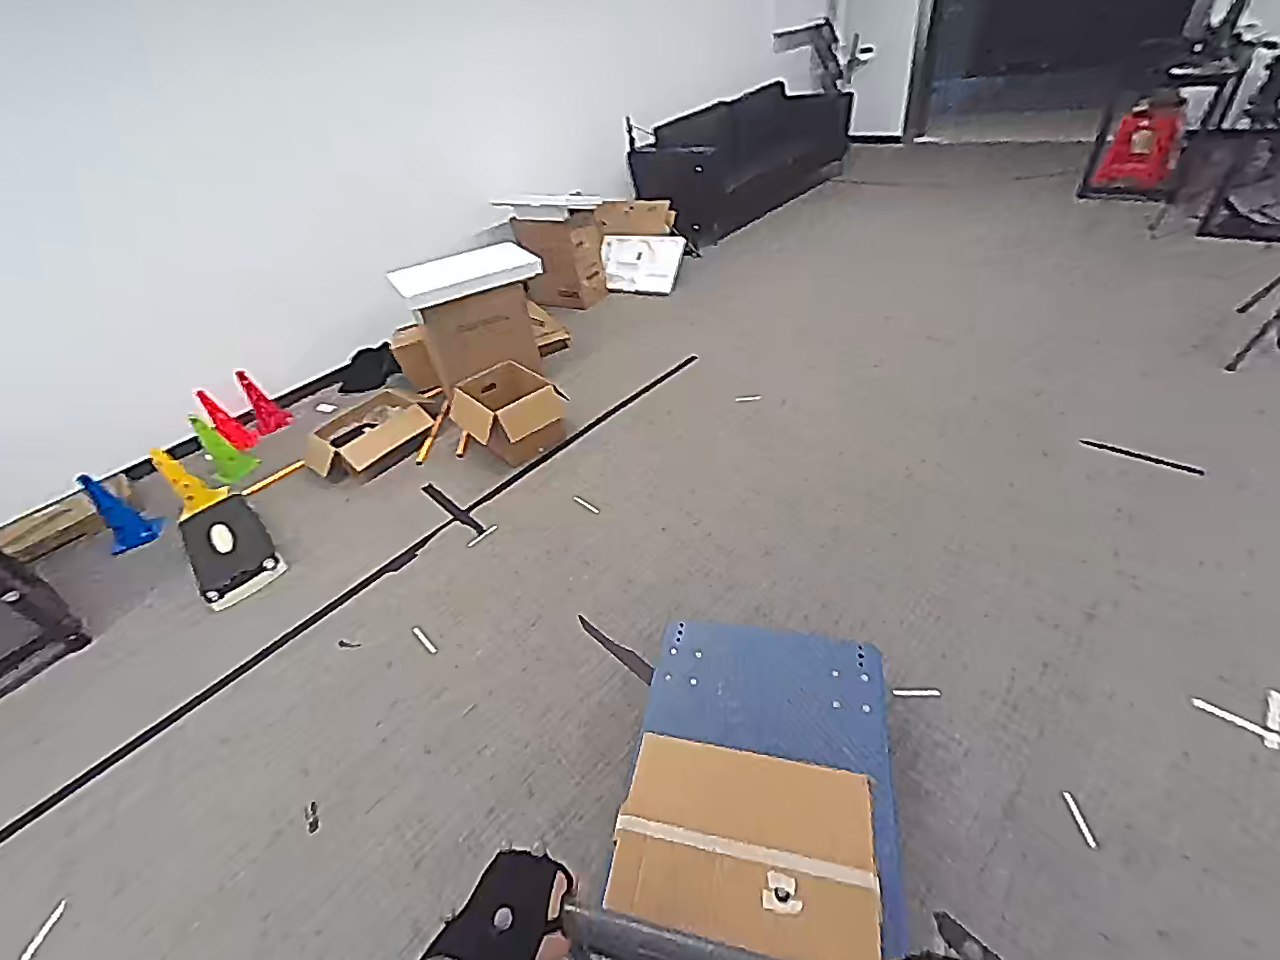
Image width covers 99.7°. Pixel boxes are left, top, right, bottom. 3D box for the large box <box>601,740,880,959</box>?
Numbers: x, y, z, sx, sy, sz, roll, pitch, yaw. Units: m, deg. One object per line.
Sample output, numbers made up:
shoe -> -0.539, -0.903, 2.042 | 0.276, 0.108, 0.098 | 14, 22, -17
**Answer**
large box -> 0.181, 0.713, 0.962 | 0.408, 0.320, 0.320 | 4, 42, 15
